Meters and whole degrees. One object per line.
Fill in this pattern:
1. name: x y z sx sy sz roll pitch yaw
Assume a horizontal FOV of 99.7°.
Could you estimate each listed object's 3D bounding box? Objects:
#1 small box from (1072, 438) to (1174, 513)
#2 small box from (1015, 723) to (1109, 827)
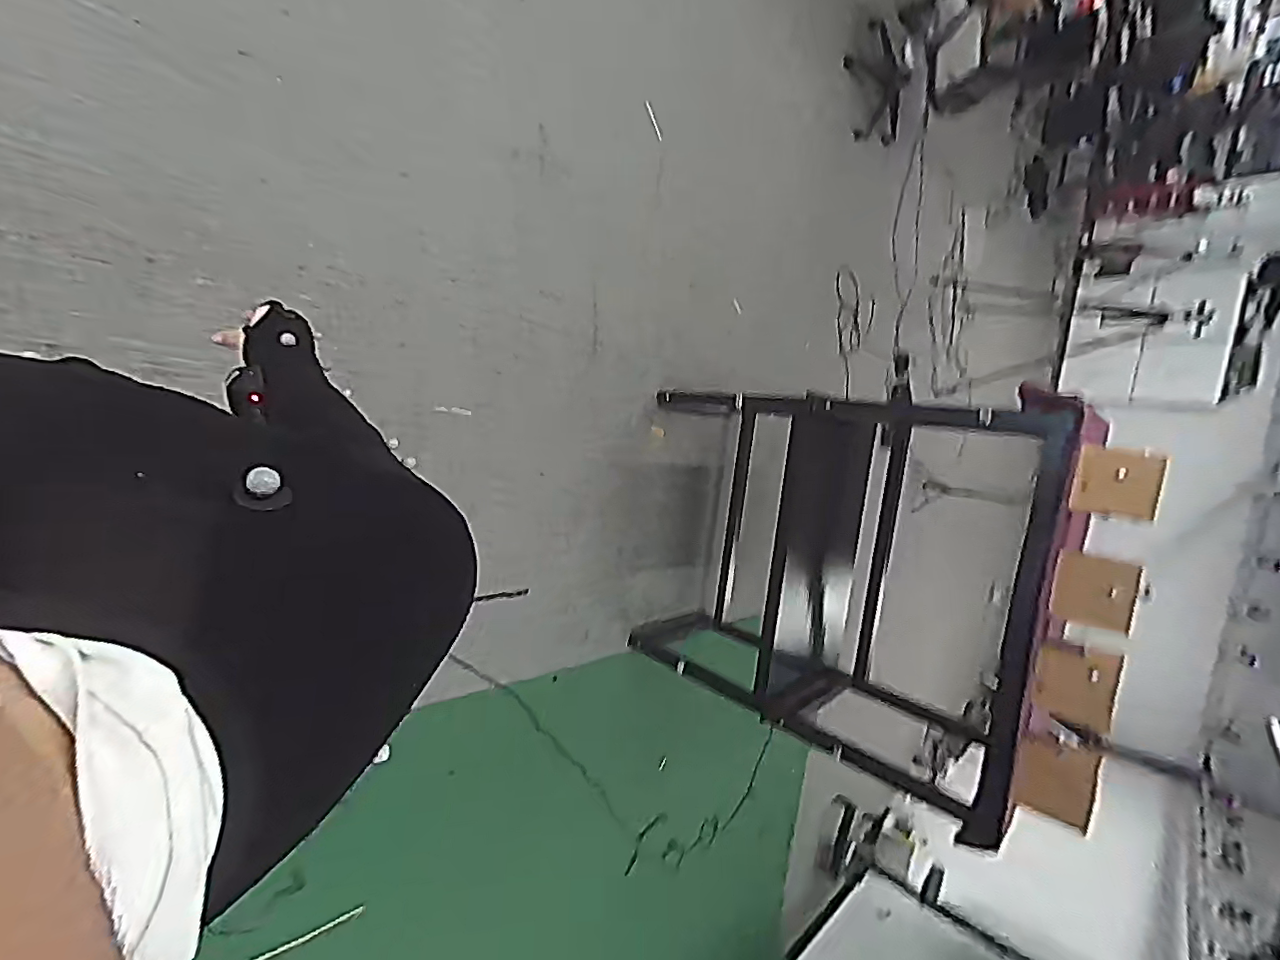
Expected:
1. small box: 1.221 -0.013 1.372 0.179 0.176 0.168 5 96 -47
2. small box: 1.133 0.778 1.456 0.168 0.176 0.179 6 94 -44
